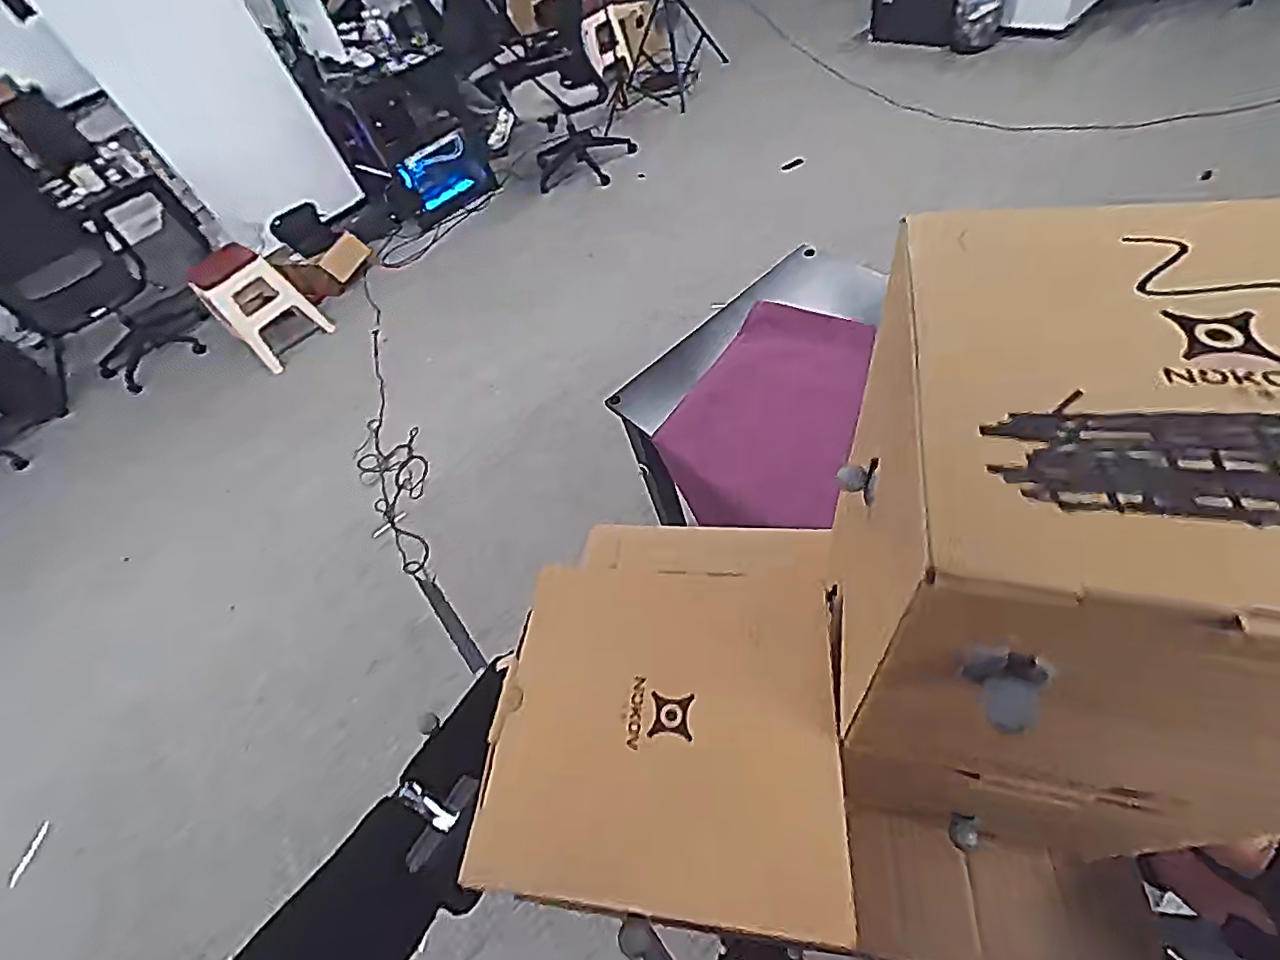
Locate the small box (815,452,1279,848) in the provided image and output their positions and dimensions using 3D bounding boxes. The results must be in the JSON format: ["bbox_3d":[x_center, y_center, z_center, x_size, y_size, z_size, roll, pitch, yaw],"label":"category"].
[{"bbox_3d":[0.206,0.106,0.343,0.168,0.176,0.179,5,54,16],"label":"small box"}]

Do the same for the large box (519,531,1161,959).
[{"bbox_3d":[0.148,0.261,0.549,0.408,0.320,0.320,-1,52,11],"label":"large box"}]
